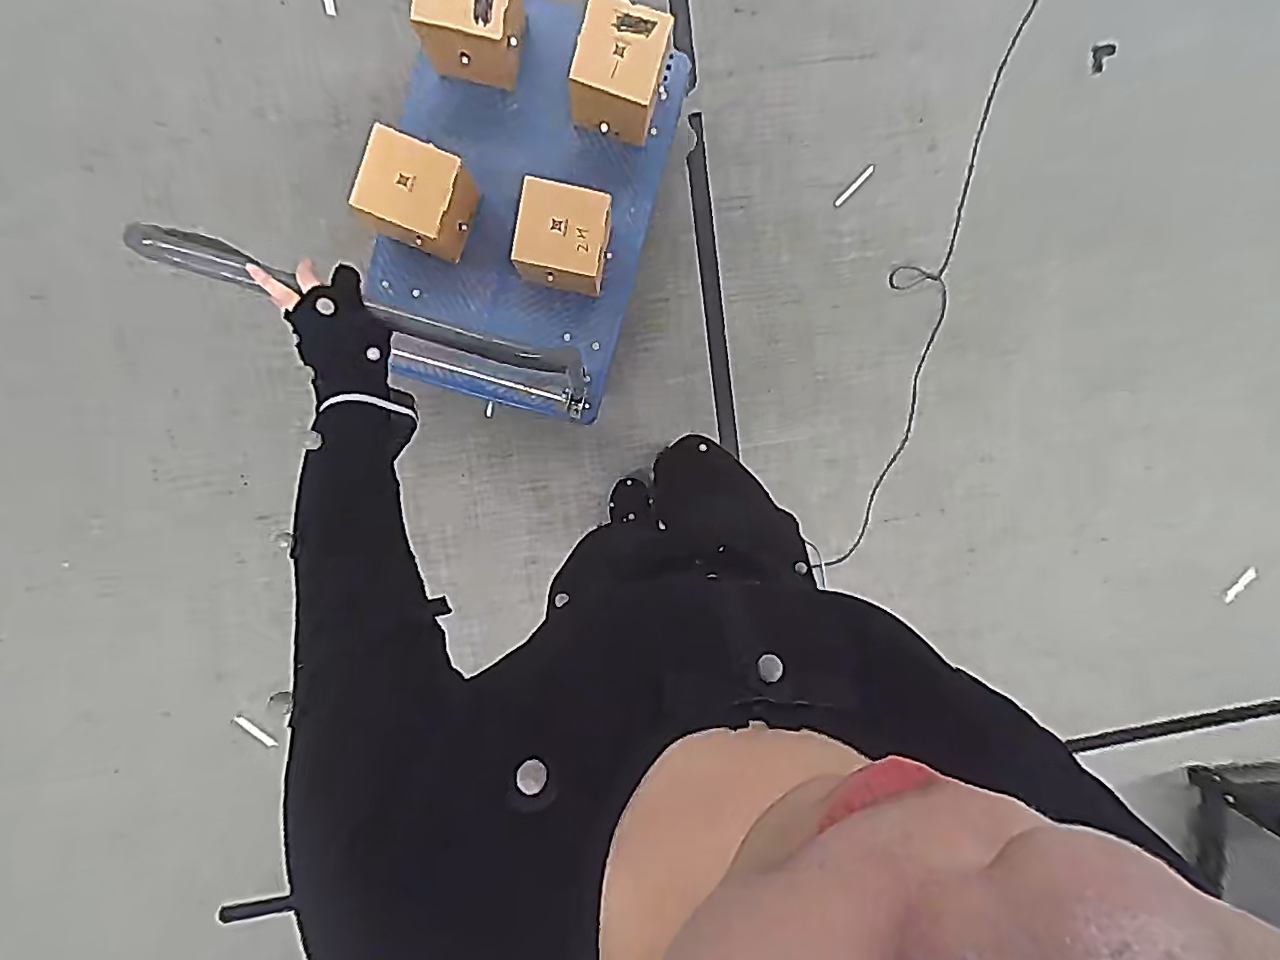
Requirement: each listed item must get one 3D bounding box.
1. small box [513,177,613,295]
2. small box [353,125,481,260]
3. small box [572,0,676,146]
[{"bbox_3d":[-0.157,-0.509,1.153,0.179,0.176,0.168,11,95,-4],"label":"small box"},{"bbox_3d":[-0.454,-0.585,1.128,0.179,0.176,0.168,20,94,-7],"label":"small box"},{"bbox_3d":[-0.037,-0.847,1.128,0.168,0.176,0.179,16,95,-5],"label":"small box"}]
